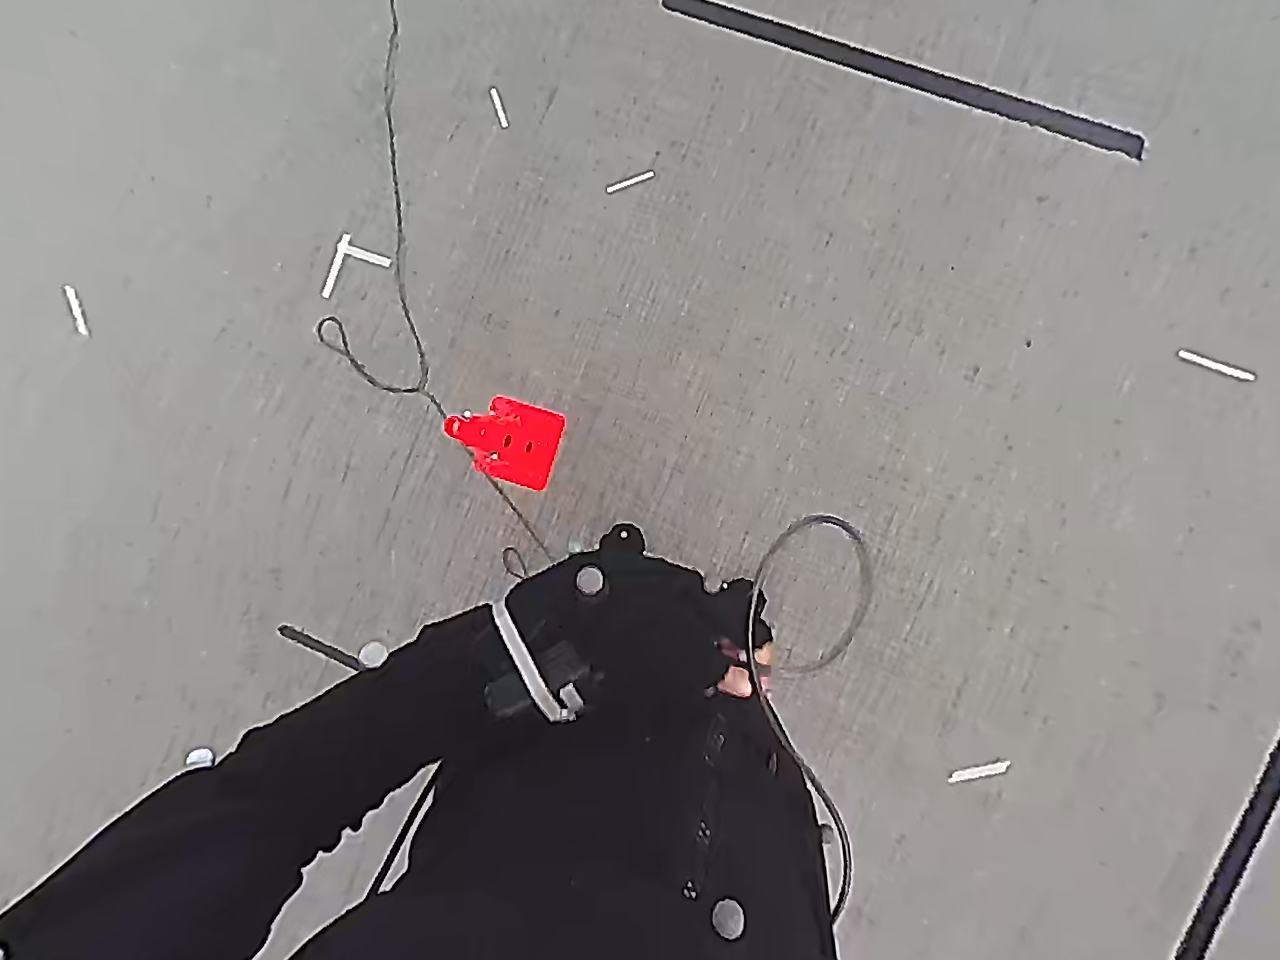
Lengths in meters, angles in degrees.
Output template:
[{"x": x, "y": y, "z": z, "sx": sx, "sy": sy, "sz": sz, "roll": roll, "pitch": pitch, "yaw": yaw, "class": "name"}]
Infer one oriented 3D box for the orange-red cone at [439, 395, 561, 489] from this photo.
[{"x": -0.327, "y": -0.096, "z": 1.159, "sx": 0.199, "sy": 0.360, "sz": 0.198, "roll": 19, "pitch": 92, "yaw": 6, "class": "orange-red cone"}]
